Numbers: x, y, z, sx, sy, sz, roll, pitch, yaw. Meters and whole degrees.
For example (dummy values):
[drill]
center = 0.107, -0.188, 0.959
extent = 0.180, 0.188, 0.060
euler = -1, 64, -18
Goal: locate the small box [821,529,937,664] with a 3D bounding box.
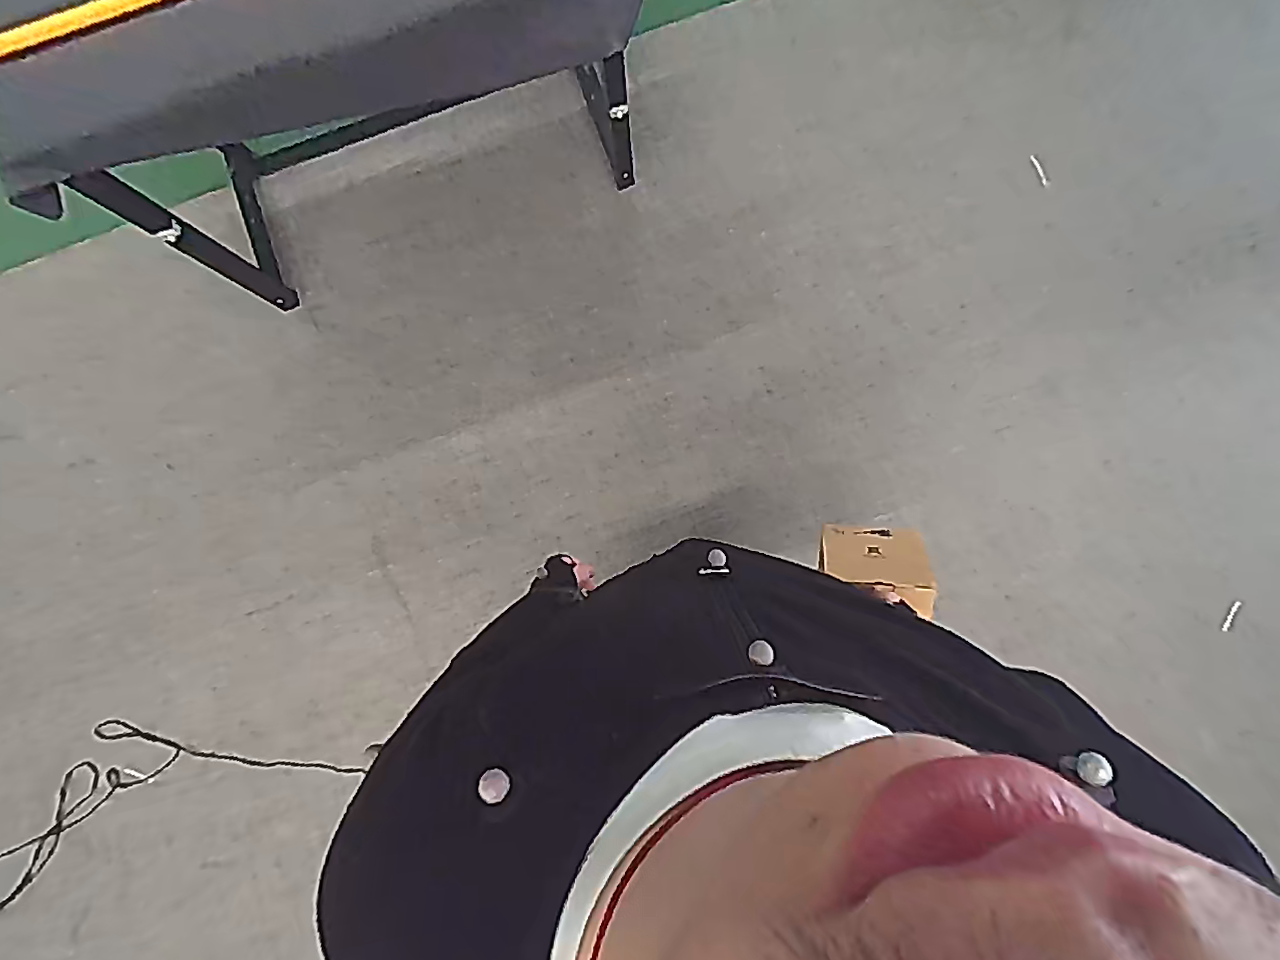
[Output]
[small box]
center = 0.414, 0.203, 0.961
extent = 0.168, 0.179, 0.176
euler = -1, 117, 15
